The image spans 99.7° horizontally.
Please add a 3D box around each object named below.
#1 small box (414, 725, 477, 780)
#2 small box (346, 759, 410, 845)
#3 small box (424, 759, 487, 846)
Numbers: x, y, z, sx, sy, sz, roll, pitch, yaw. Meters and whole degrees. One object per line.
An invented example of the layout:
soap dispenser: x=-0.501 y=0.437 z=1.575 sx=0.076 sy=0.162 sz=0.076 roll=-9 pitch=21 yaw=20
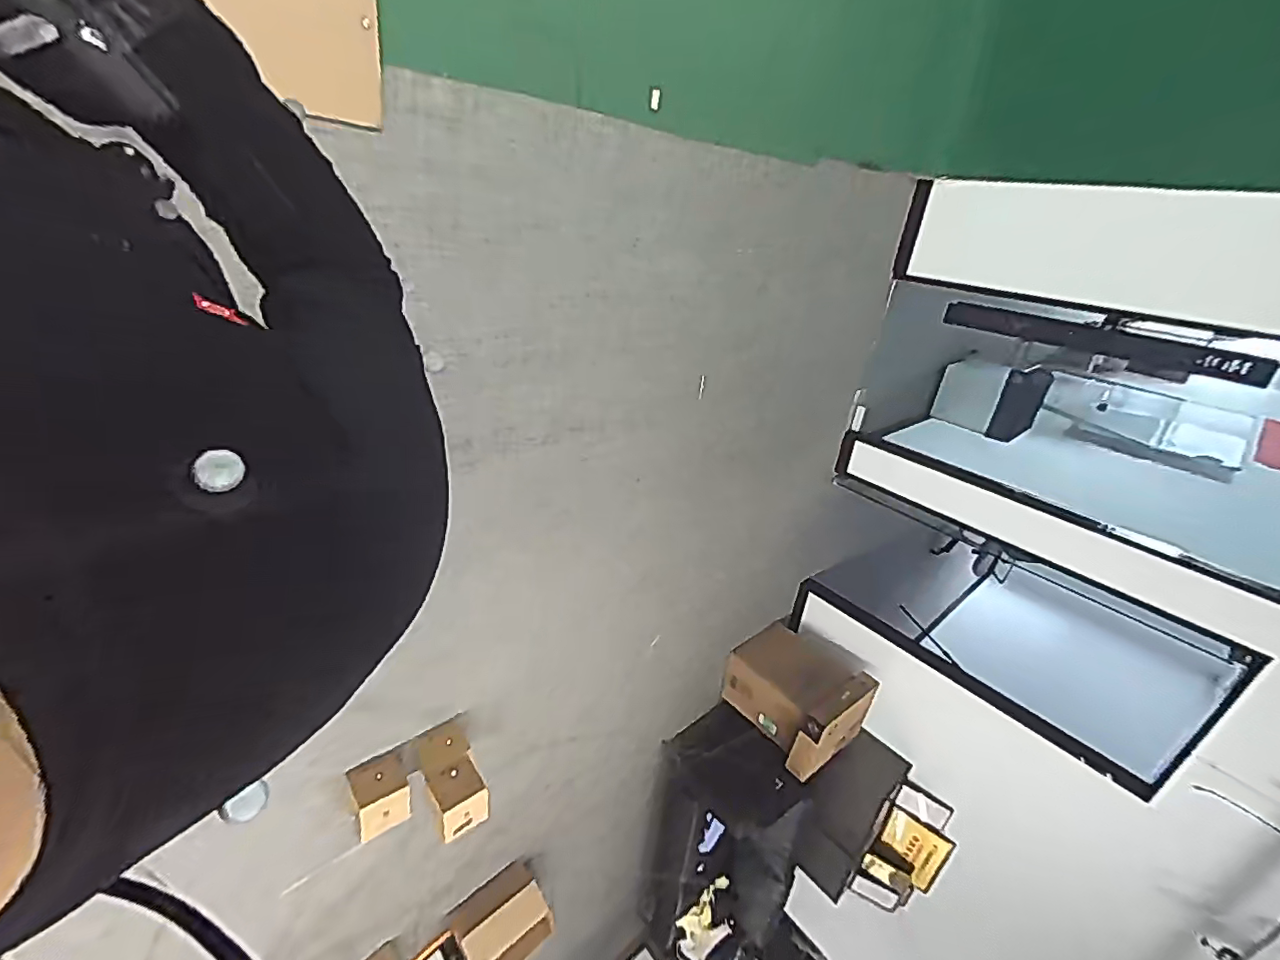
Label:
small box: x=-0.752 y=1.081 z=2.081 sx=0.168 sy=0.176 sz=0.179 roll=-23 pitch=128 yaw=-36
small box: x=-0.934 y=1.131 z=1.921 sx=0.168 sy=0.176 sz=0.179 roll=-11 pitch=121 yaw=-42
small box: x=-0.668 y=1.159 z=1.958 sx=0.168 sy=0.176 sz=0.179 roll=-15 pitch=123 yaw=-40
